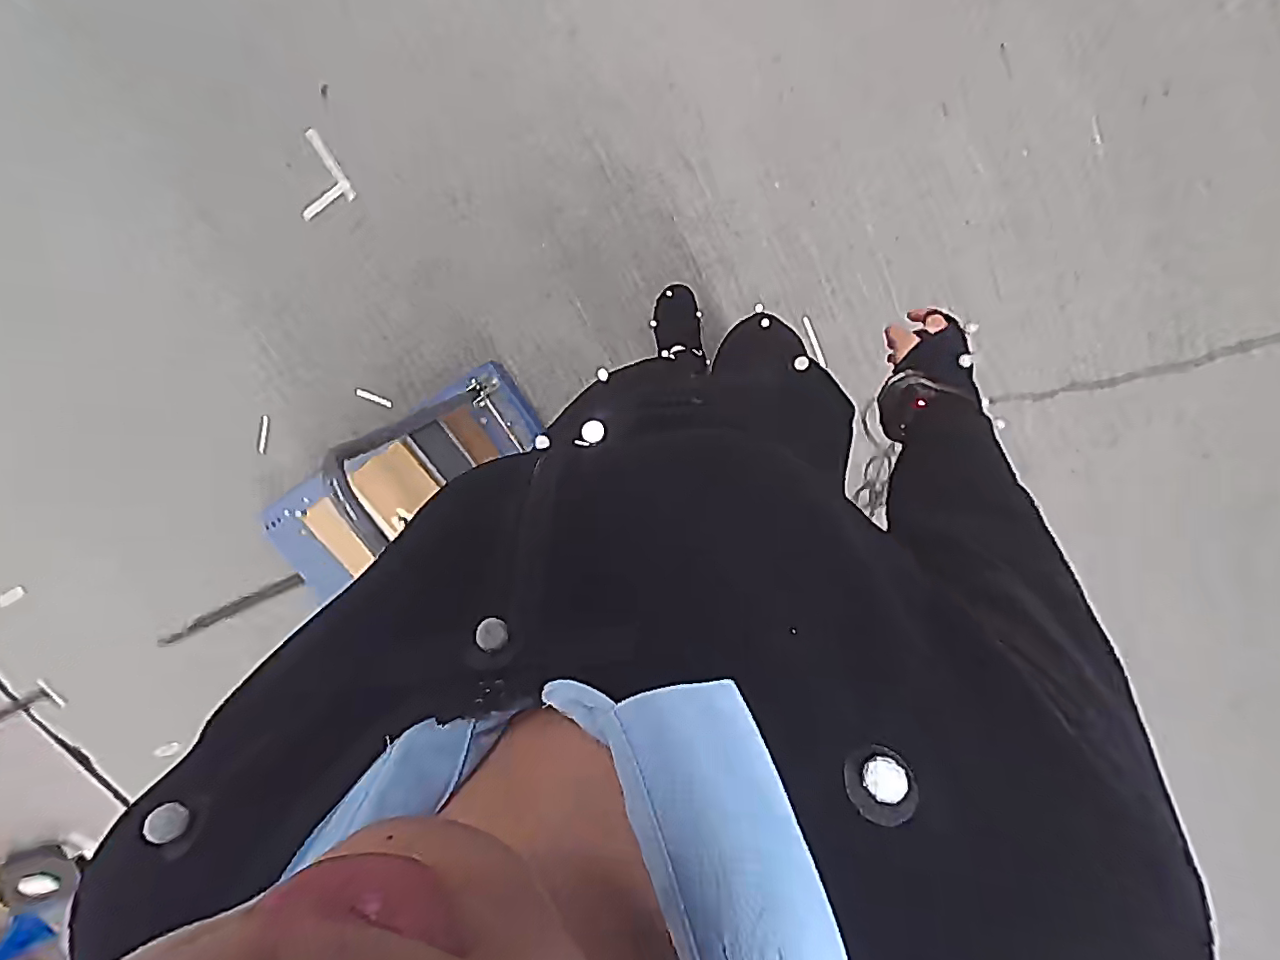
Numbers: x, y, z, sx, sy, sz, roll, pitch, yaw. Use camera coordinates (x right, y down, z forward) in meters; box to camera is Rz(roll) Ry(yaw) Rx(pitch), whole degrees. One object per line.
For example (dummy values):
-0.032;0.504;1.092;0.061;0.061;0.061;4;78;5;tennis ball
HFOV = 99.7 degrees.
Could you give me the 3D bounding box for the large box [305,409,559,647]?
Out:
-0.459;0.102;1.284;0.320;0.320;0.408;-32;103;16;large box
